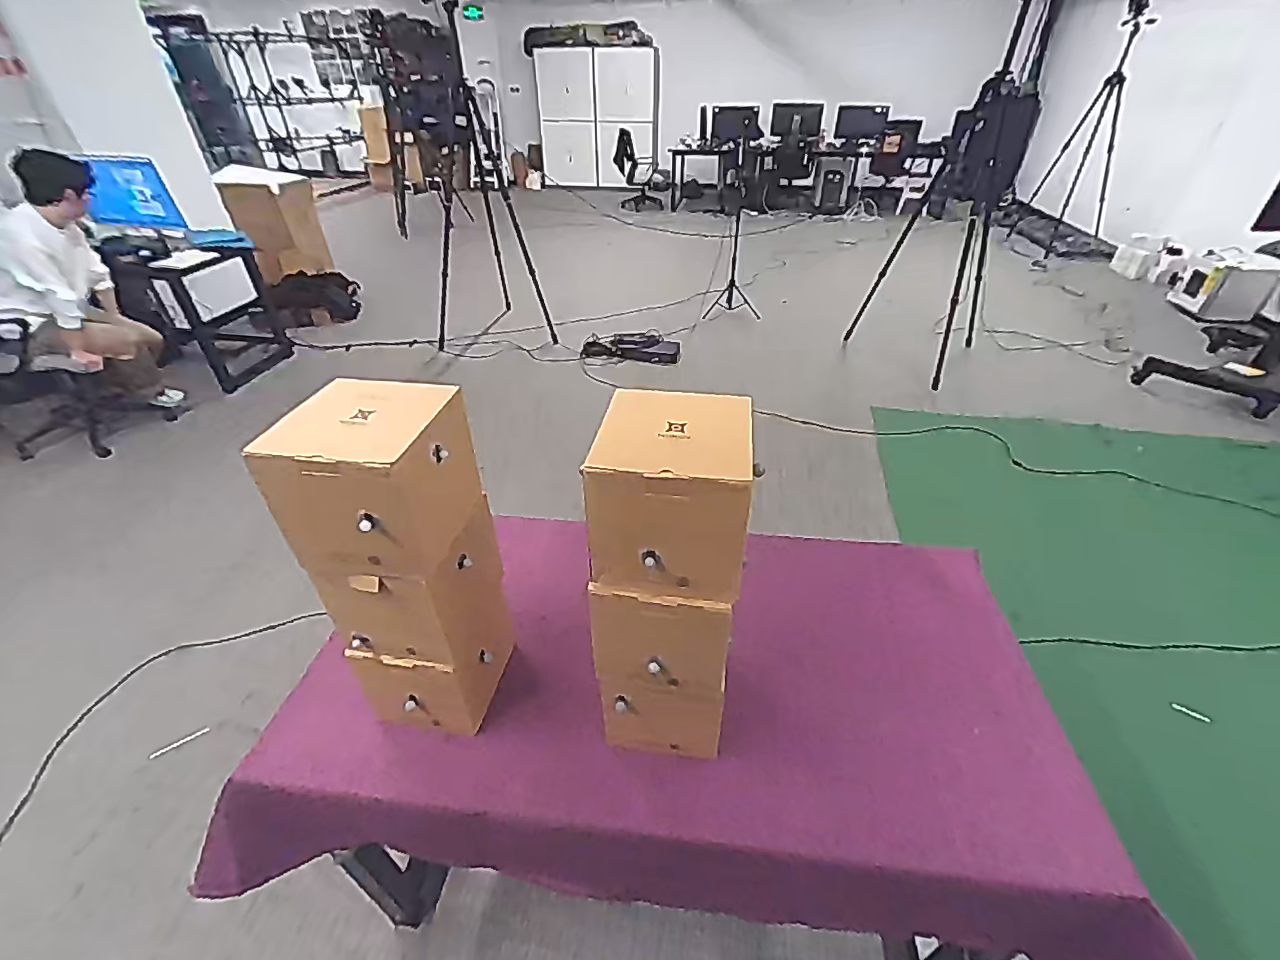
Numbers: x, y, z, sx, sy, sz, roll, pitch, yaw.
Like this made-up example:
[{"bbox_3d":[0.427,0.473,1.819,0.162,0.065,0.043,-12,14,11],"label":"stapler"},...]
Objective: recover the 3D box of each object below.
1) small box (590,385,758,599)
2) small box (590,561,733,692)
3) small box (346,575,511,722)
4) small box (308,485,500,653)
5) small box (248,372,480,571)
[{"bbox_3d":[0.042,0.010,0.628,0.168,0.176,0.179,6,38,7],"label":"small box"},{"bbox_3d":[0.038,0.147,0.717,0.168,0.176,0.179,7,38,10],"label":"small box"},{"bbox_3d":[-0.314,0.251,0.850,0.168,0.176,0.179,7,38,7],"label":"small box"},{"bbox_3d":[-0.309,0.115,0.756,0.168,0.176,0.179,7,37,8],"label":"small box"},{"bbox_3d":[-0.308,-0.012,0.654,0.168,0.176,0.179,6,37,6],"label":"small box"}]
